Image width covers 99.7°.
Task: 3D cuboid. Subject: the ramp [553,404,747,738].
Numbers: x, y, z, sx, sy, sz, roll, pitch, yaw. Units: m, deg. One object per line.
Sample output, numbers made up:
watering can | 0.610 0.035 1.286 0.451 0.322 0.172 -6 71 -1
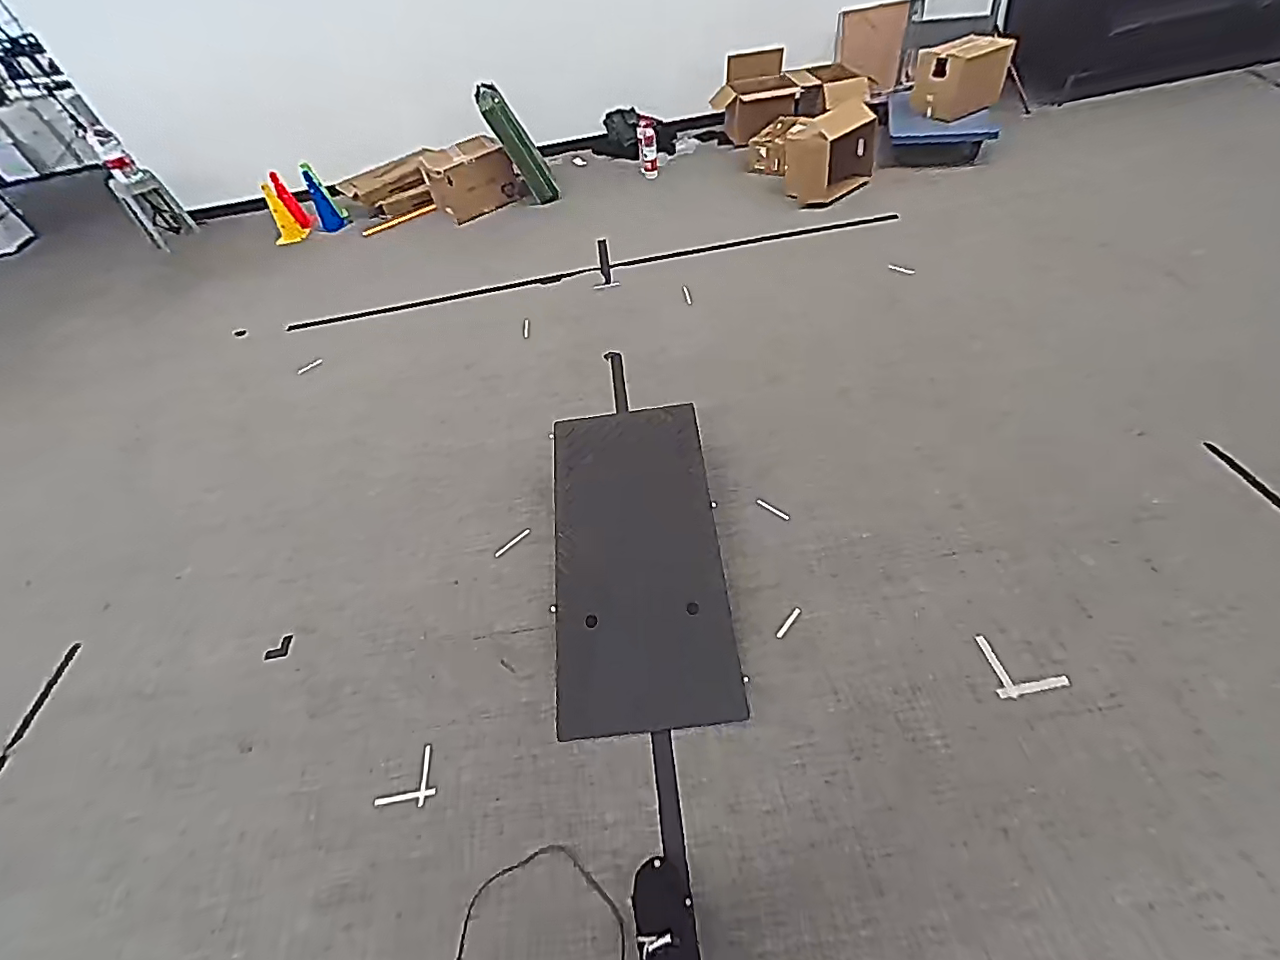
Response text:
ramp | -0.012 0.200 1.616 0.509 0.206 0.991 -8 49 1
